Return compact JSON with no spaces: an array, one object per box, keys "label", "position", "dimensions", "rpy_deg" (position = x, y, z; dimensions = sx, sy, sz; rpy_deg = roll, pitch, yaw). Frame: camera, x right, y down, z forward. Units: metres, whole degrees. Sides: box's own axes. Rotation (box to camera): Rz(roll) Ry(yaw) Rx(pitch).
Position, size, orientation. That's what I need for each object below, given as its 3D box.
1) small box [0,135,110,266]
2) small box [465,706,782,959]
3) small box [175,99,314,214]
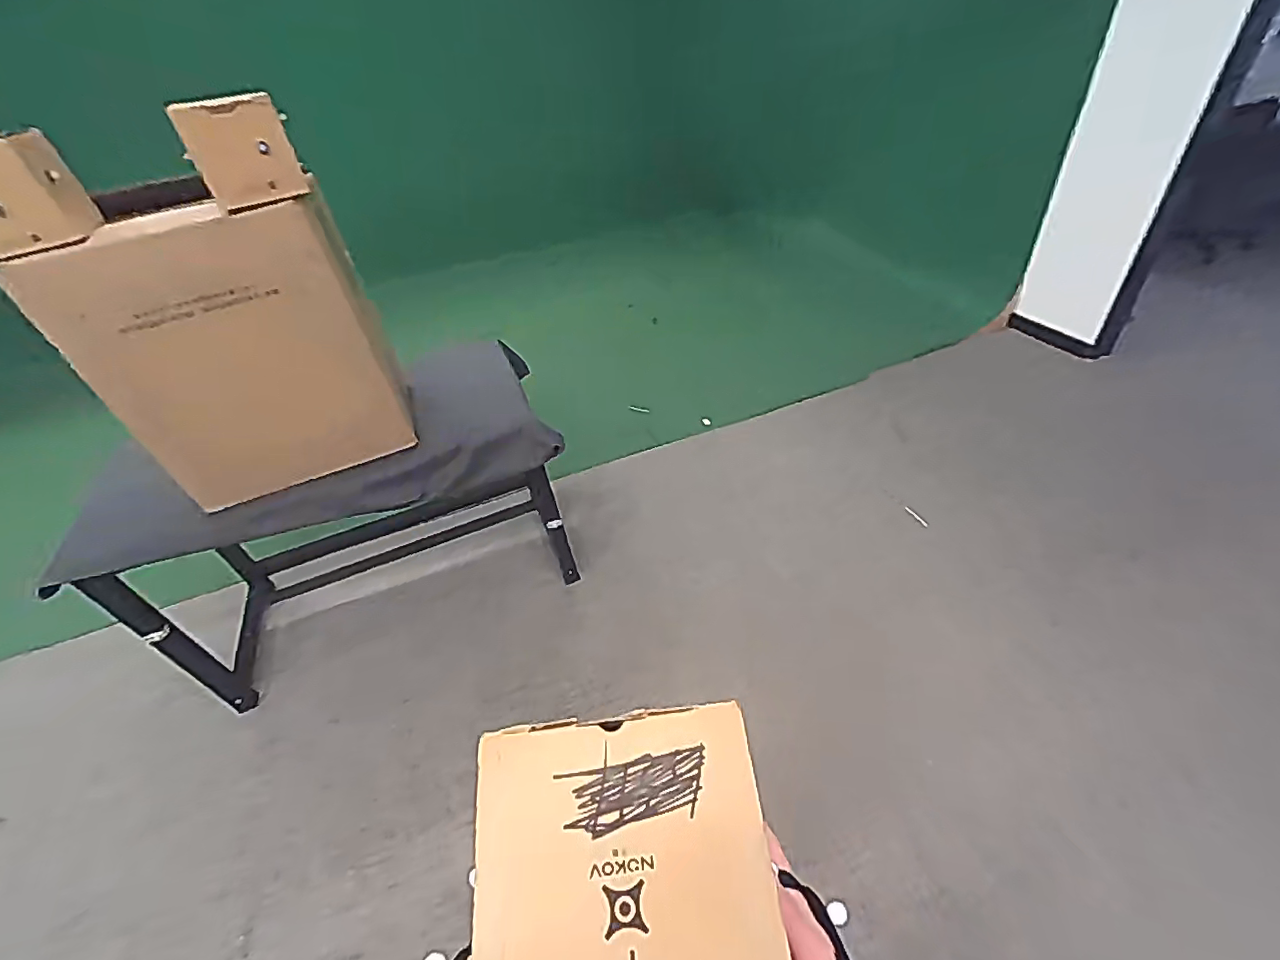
[{"label":"small box","position":[-1.144,-0.513,0.998],"dimensions":[0.168,0.176,0.179],"rpy_deg":[-24,43,-15]},{"label":"small box","position":[-0.012,0.267,0.362],"dimensions":[0.168,0.176,0.179],"rpy_deg":[-7,59,-3]},{"label":"small box","position":[-0.778,-0.644,1.080],"dimensions":[0.168,0.176,0.179],"rpy_deg":[-24,42,-20]}]
